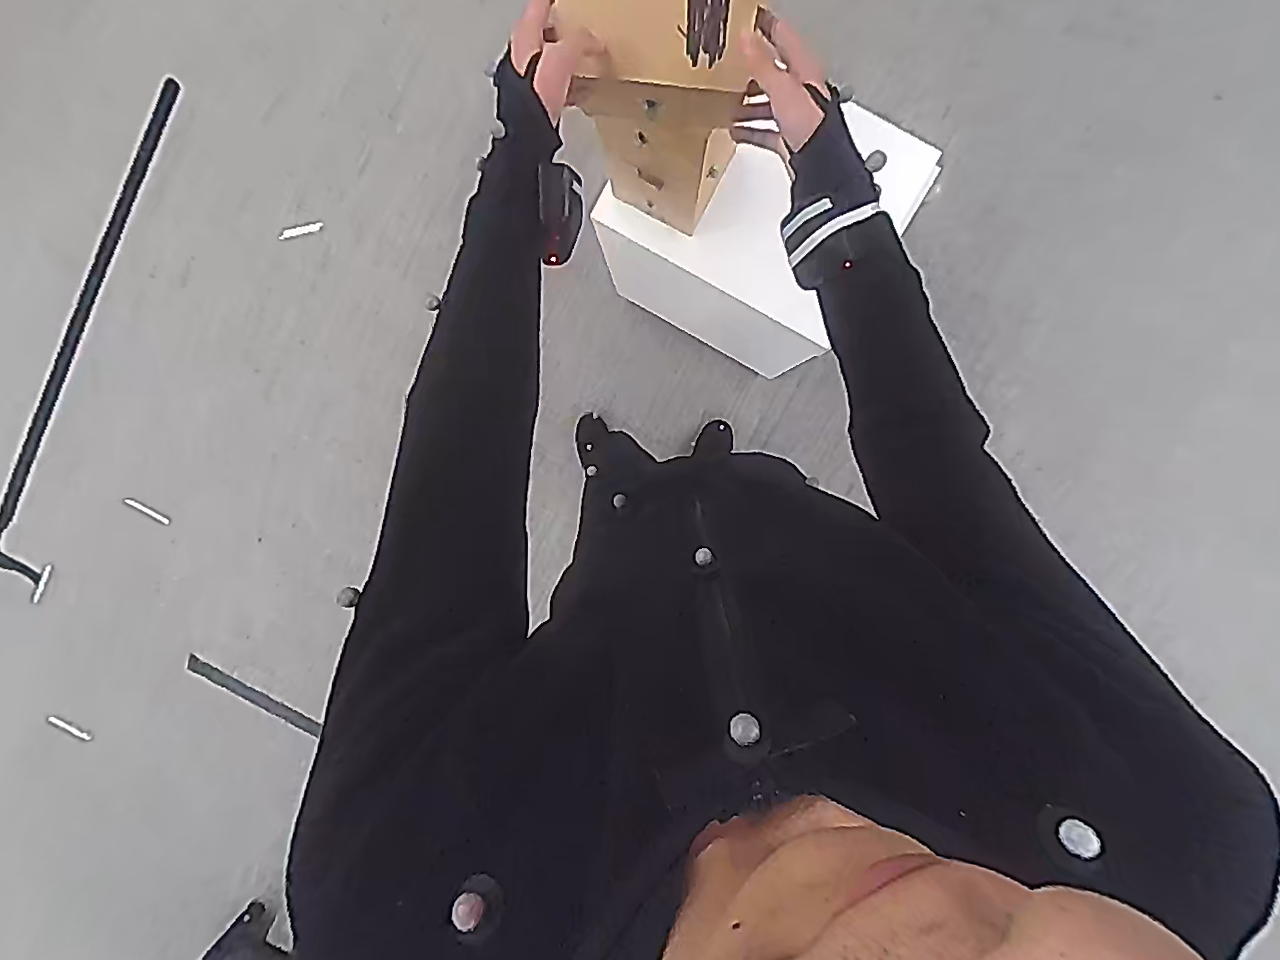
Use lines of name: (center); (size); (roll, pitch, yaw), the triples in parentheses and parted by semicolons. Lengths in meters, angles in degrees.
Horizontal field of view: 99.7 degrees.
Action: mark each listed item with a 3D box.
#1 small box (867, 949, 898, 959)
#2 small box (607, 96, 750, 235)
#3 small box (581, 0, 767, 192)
small box: (0.788, 1.621, 1.673); (0.168, 0.176, 0.179); (27, 97, 0)
small box: (0.058, -0.547, 0.897); (0.168, 0.176, 0.179); (28, 96, 0)
small box: (0.045, -0.528, 0.734); (0.179, 0.176, 0.168); (29, 96, 1)
